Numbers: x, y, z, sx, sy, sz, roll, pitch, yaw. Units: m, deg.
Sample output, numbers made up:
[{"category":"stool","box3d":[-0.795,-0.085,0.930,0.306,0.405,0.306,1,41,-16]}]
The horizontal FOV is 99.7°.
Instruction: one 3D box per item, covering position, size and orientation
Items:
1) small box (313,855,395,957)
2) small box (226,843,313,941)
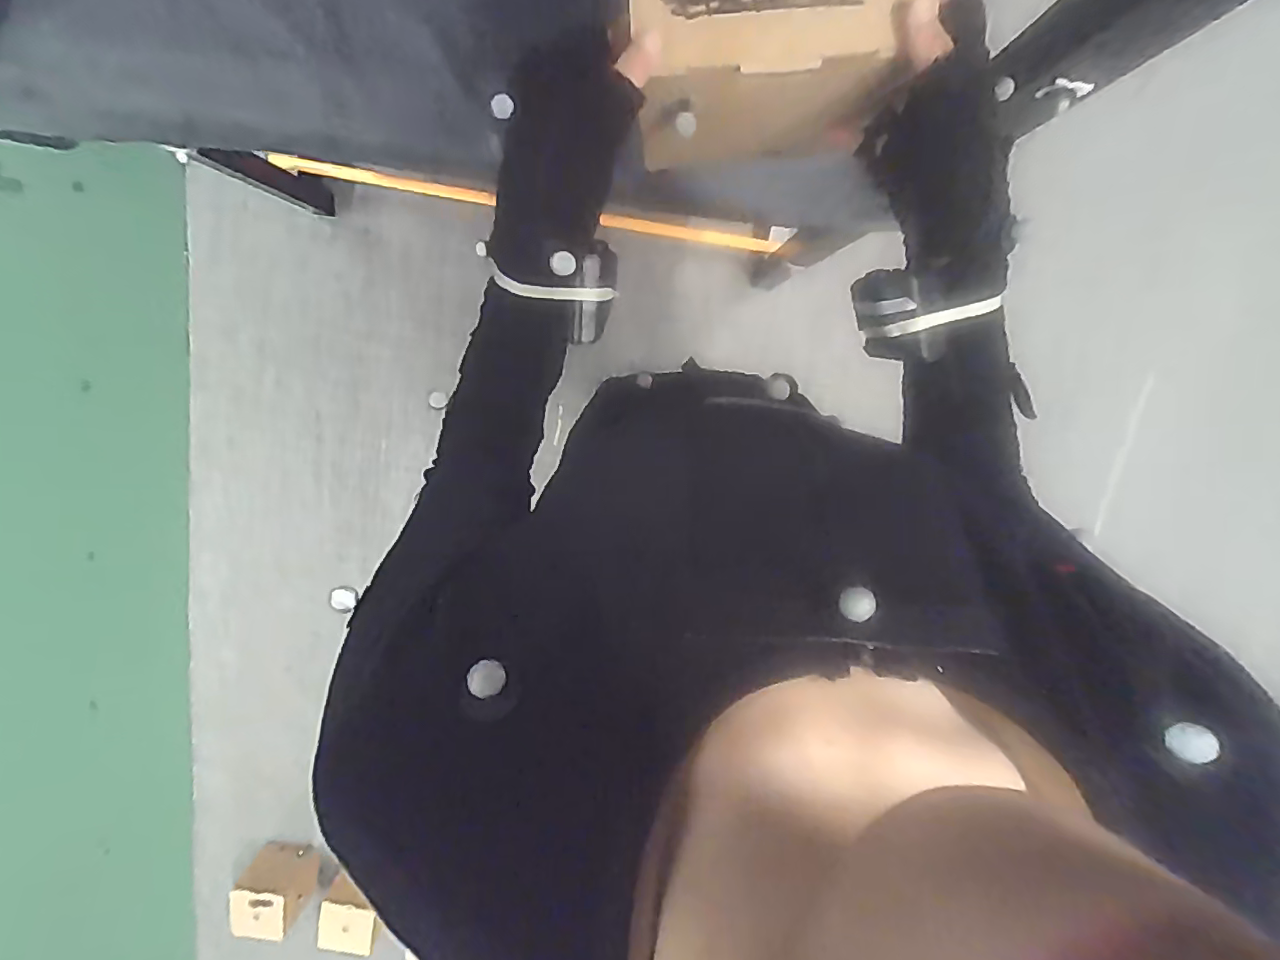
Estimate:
[{"category":"small box","box3d":[-0.896,1.339,1.706,0.168,0.176,0.179,12,101,-1]},{"category":"small box","box3d":[-1.161,1.291,1.703,0.168,0.176,0.179,9,102,0]}]
